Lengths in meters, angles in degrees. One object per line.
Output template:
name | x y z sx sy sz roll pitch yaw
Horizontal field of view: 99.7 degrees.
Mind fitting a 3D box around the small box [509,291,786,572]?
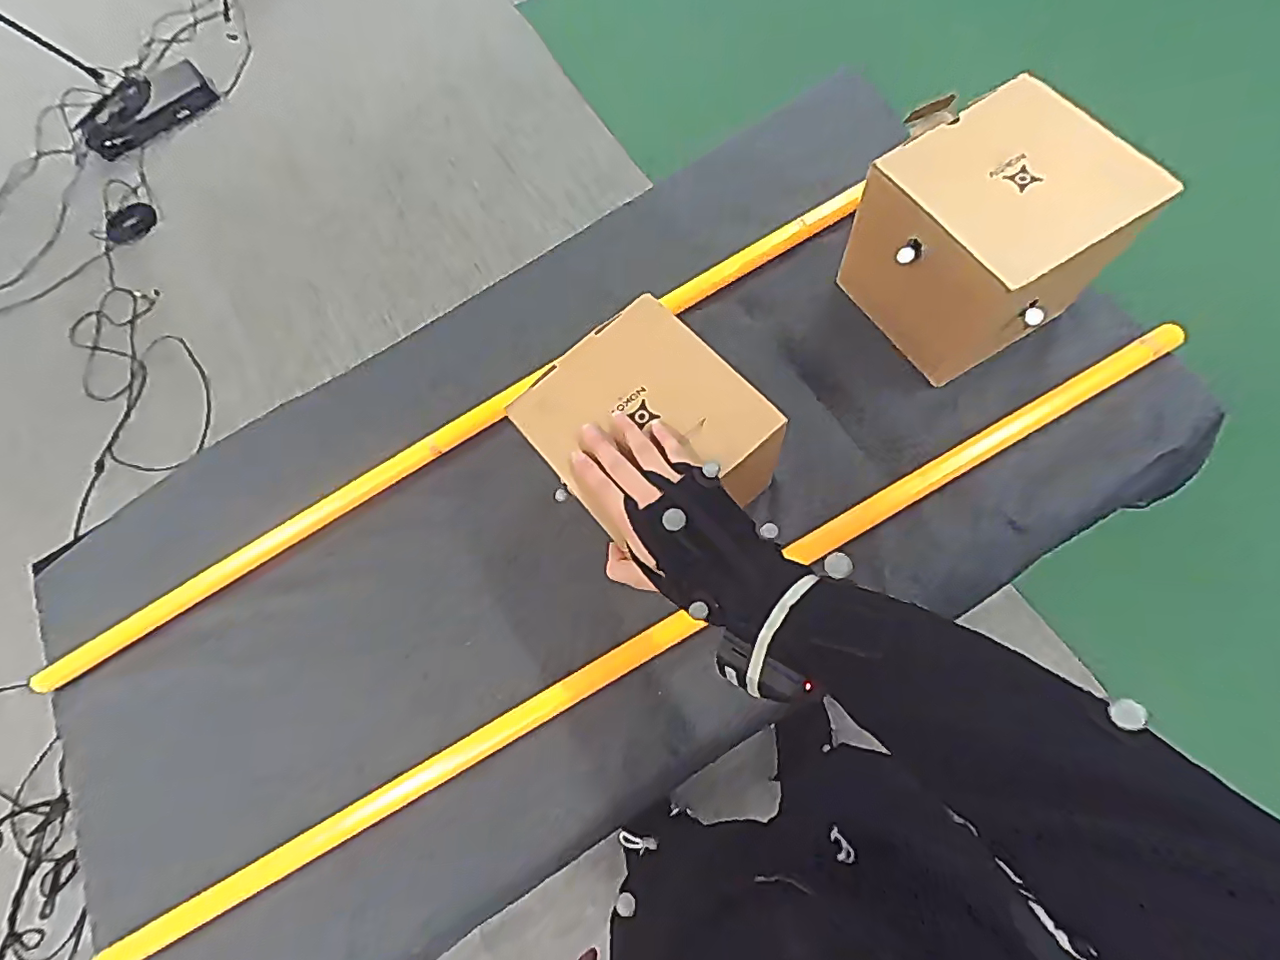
small box | 0.012 -0.033 0.517 0.168 0.176 0.179 -41 71 -5

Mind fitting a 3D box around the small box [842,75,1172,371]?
small box | 0.329 -0.232 0.533 0.168 0.176 0.179 -31 69 -1
